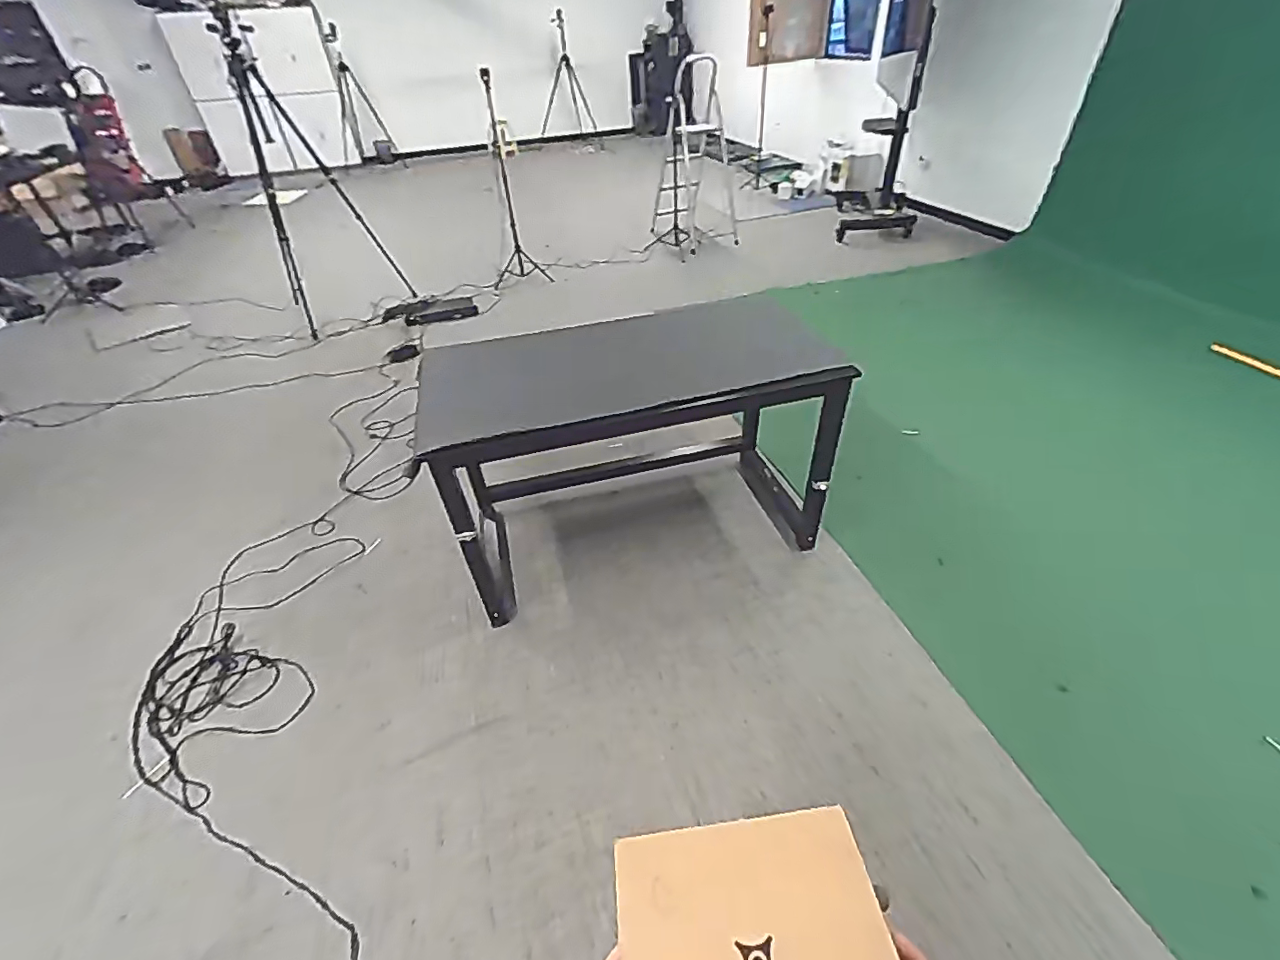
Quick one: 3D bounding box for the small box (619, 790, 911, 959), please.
[{"bbox_3d":[0.080,0.342,0.353,0.168,0.176,0.179,-9,33,0],"label":"small box"}]
